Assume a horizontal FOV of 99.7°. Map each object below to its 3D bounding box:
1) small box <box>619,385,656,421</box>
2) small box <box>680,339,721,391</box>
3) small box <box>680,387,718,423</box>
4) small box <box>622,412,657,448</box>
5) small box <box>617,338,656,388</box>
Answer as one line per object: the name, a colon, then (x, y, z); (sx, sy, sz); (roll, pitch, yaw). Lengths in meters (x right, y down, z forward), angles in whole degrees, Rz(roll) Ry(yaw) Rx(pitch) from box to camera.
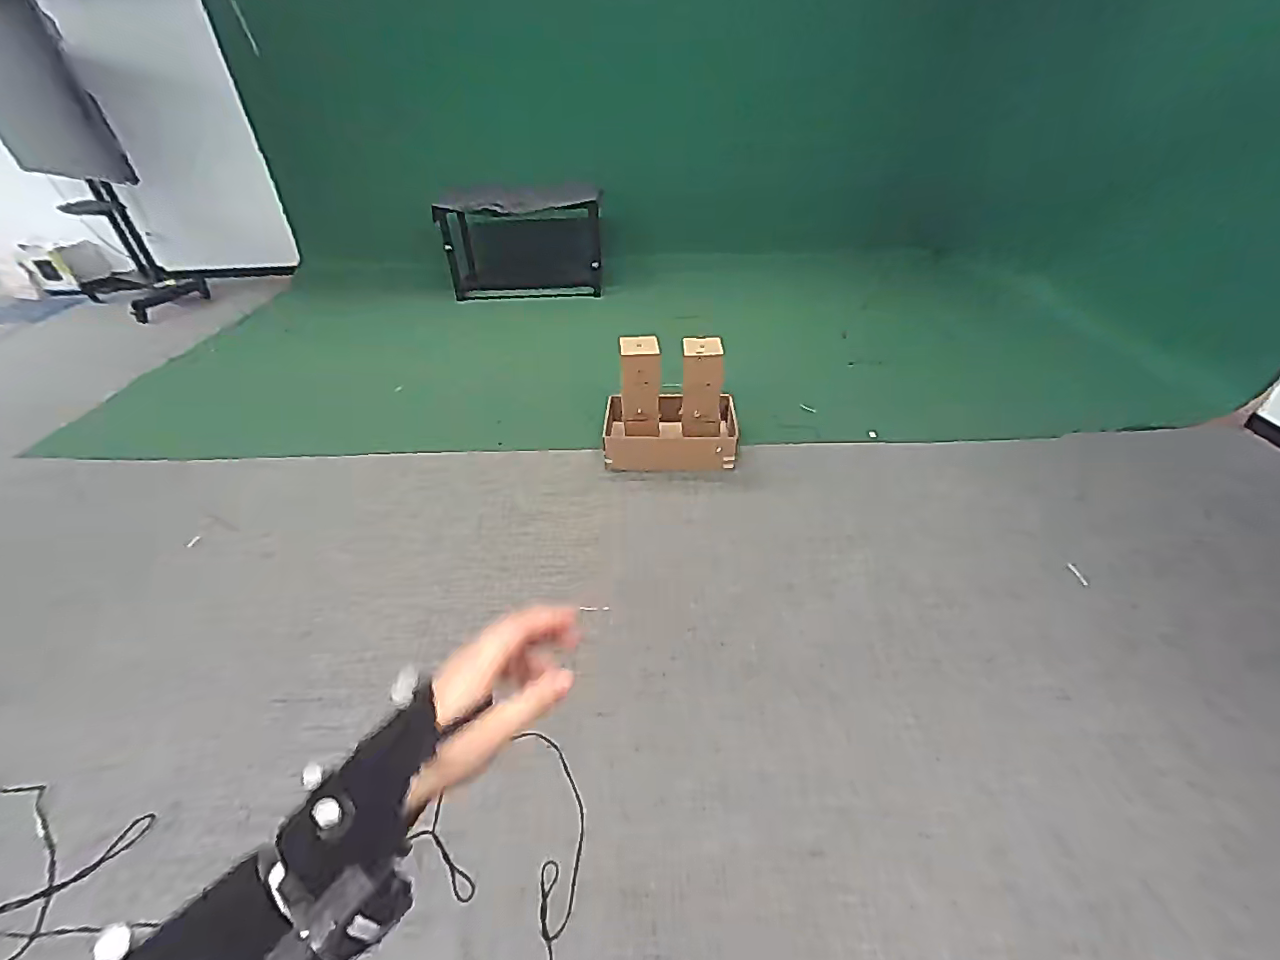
small box: (-0.015, -0.392, 2.514); (0.168, 0.176, 0.179); (-3, 40, -3)
small box: (0.263, -0.508, 2.385); (0.168, 0.176, 0.179); (-1, 38, 2)
small box: (0.269, -0.379, 2.488); (0.168, 0.176, 0.179); (0, 40, 4)
small box: (-0.006, -0.271, 2.626); (0.168, 0.176, 0.179); (-2, 39, -2)
small box: (-0.015, -0.519, 2.409); (0.168, 0.176, 0.179); (-2, 39, -4)
